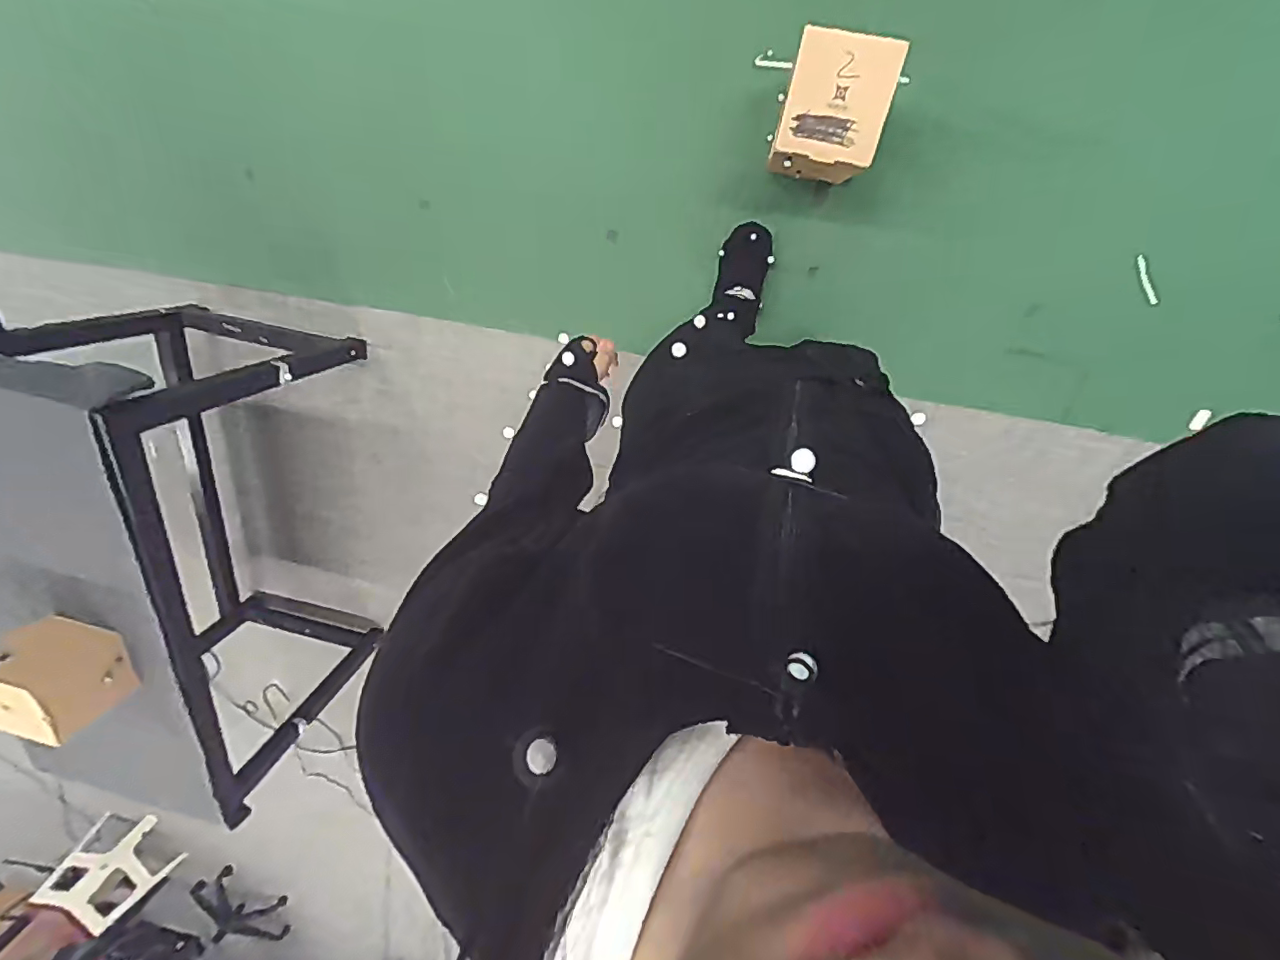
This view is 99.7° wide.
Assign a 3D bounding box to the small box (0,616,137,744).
[{"bbox_3d":[-1.235,0.413,1.140,0.179,0.176,0.168,12,117,6],"label":"small box"}]

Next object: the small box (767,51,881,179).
[{"bbox_3d":[0.360,-0.730,1.098,0.168,0.176,0.179,14,117,4],"label":"small box"}]
